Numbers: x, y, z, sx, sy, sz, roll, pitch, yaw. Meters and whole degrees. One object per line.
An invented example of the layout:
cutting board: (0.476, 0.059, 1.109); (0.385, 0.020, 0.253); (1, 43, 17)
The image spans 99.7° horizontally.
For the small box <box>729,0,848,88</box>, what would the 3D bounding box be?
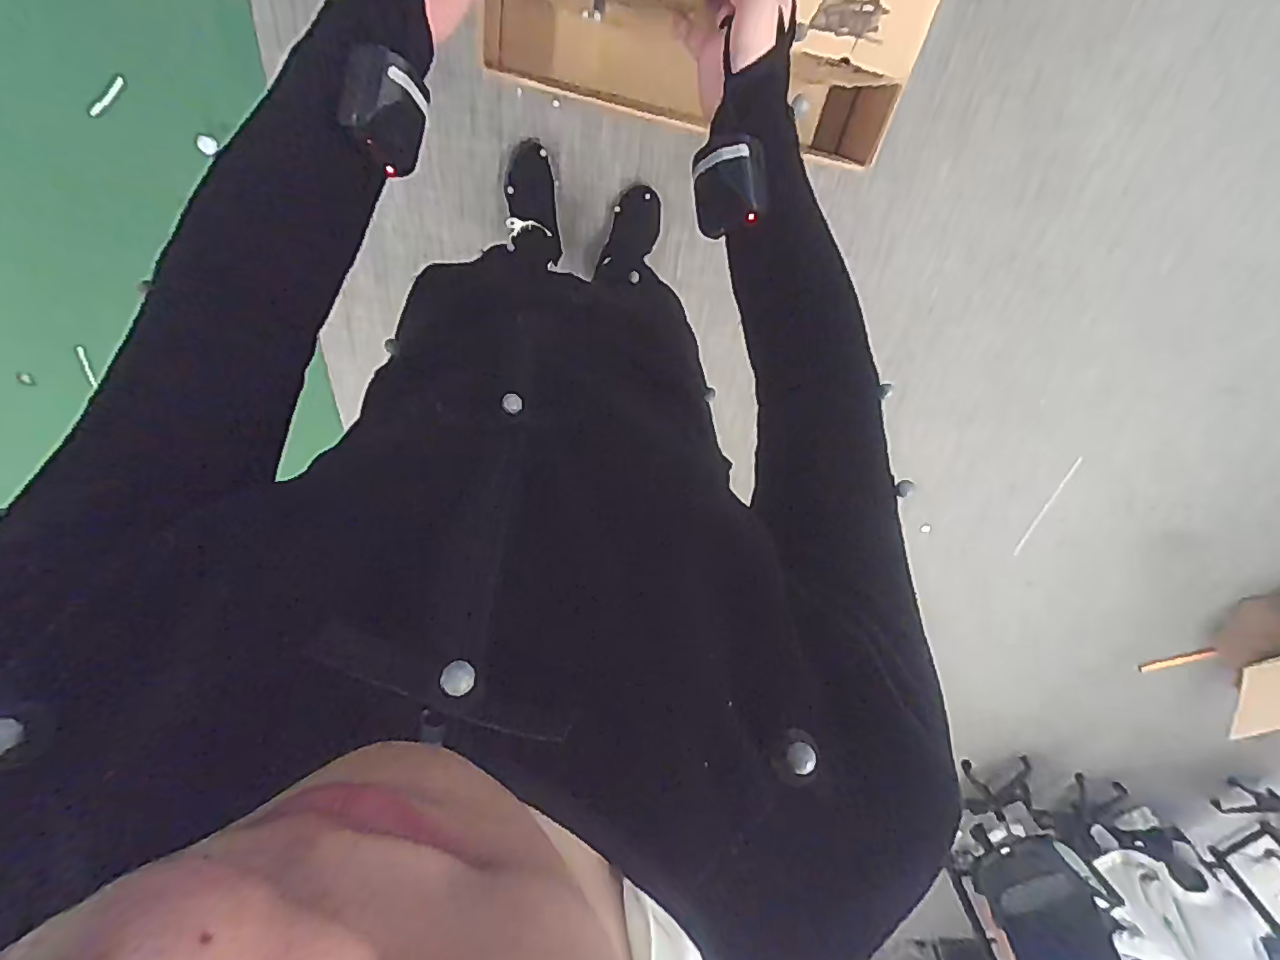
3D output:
small box: (0.235, -0.687, 0.773); (0.168, 0.176, 0.179); (8, 125, -10)

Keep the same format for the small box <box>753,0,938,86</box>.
small box: (0.245, -0.591, 0.639); (0.168, 0.176, 0.179); (8, 124, -10)

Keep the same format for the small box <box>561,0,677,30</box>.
small box: (-0.026, -0.627, 0.593); (0.168, 0.176, 0.179); (9, 125, -11)
